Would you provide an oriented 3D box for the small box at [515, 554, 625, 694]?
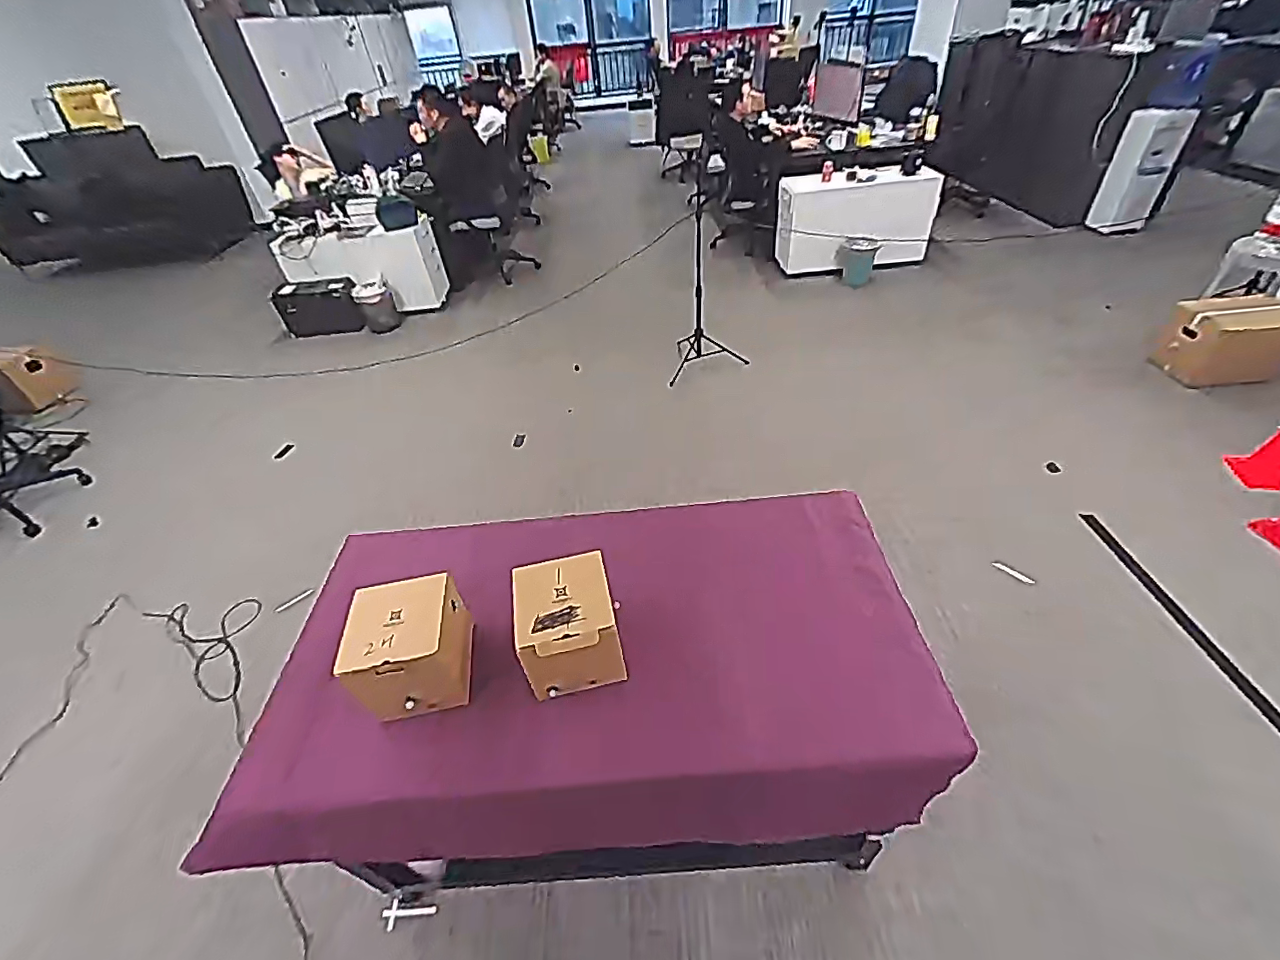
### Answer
[{"bbox_3d":[-0.126,0.267,0.983,0.168,0.176,0.179,-11,40,-6],"label":"small box"}]

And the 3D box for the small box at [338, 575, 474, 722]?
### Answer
[{"bbox_3d":[-0.406,0.303,0.975,0.168,0.176,0.179,-10,41,-4],"label":"small box"}]
